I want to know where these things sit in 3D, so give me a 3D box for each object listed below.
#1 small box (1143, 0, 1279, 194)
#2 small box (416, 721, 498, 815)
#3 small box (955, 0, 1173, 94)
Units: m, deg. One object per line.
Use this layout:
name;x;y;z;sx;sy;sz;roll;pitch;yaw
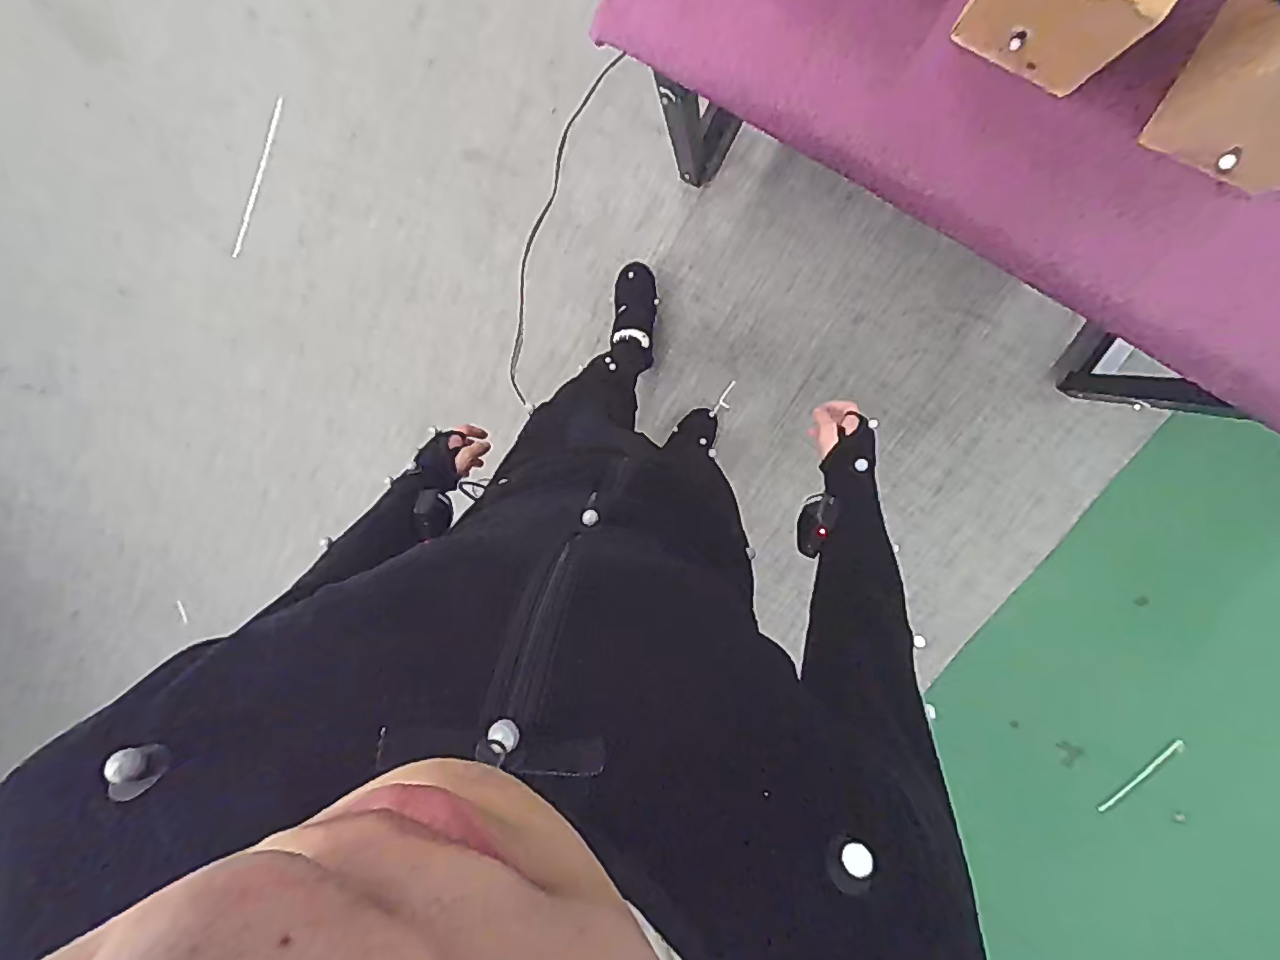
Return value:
small box;0.718;-0.447;0.581;0.168;0.176;0.179;27;105;2
small box;-0.597;0.947;1.787;0.168;0.176;0.179;34;105;-1
small box;0.487;-0.578;0.588;0.168;0.176;0.179;28;106;1
